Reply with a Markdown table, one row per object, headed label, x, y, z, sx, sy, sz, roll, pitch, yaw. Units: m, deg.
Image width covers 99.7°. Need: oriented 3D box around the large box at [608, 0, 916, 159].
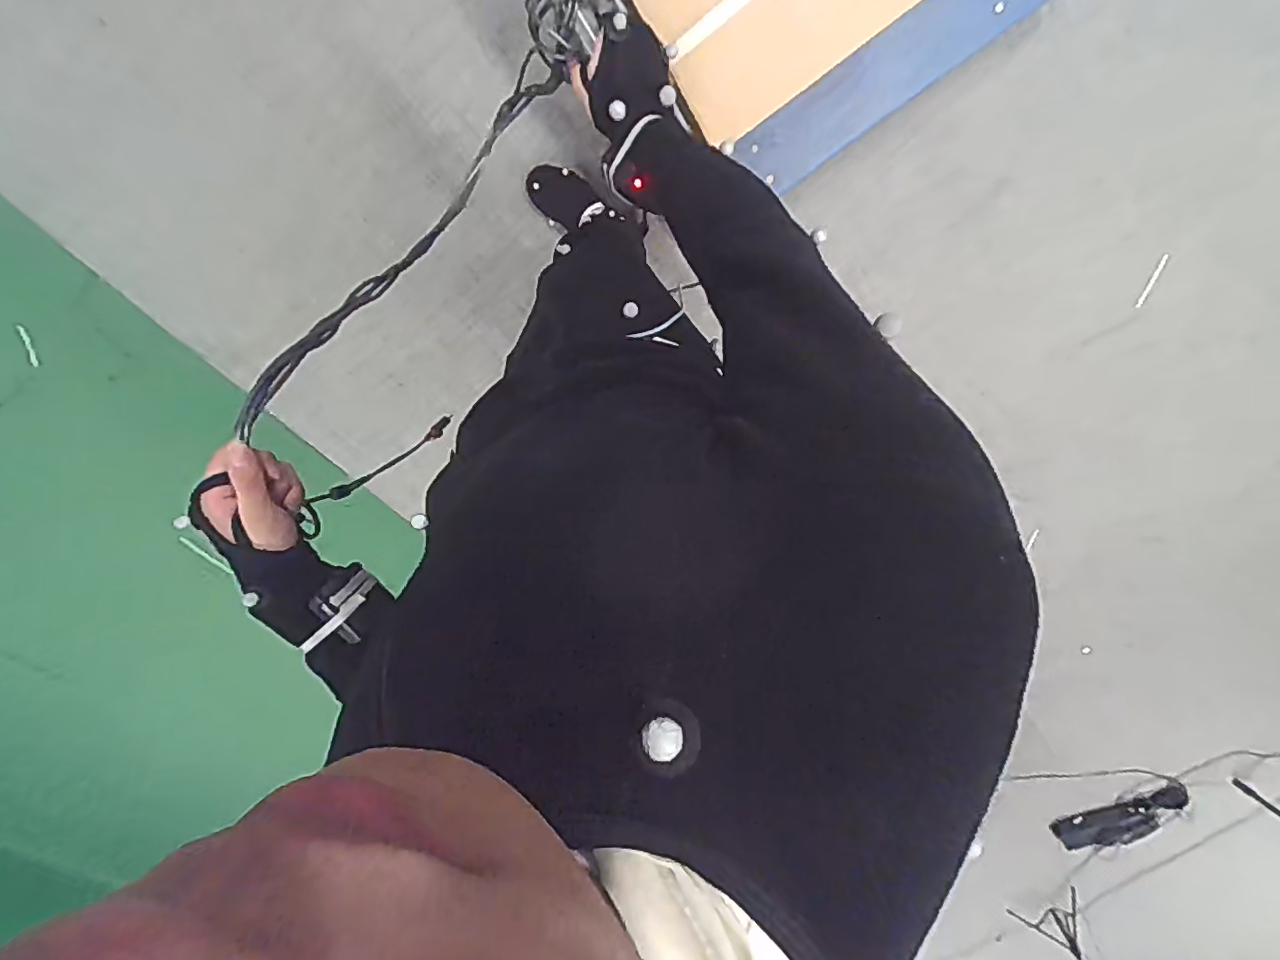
| label | x | y | z | sx | sy | sz | roll | pitch | yaw |
| --- | --- | --- | --- | --- | --- | --- | --- | --- | --- |
| large box | 0.191 | -0.818 | 0.915 | 0.408 | 0.320 | 0.320 | -31 | 117 | 15 |
